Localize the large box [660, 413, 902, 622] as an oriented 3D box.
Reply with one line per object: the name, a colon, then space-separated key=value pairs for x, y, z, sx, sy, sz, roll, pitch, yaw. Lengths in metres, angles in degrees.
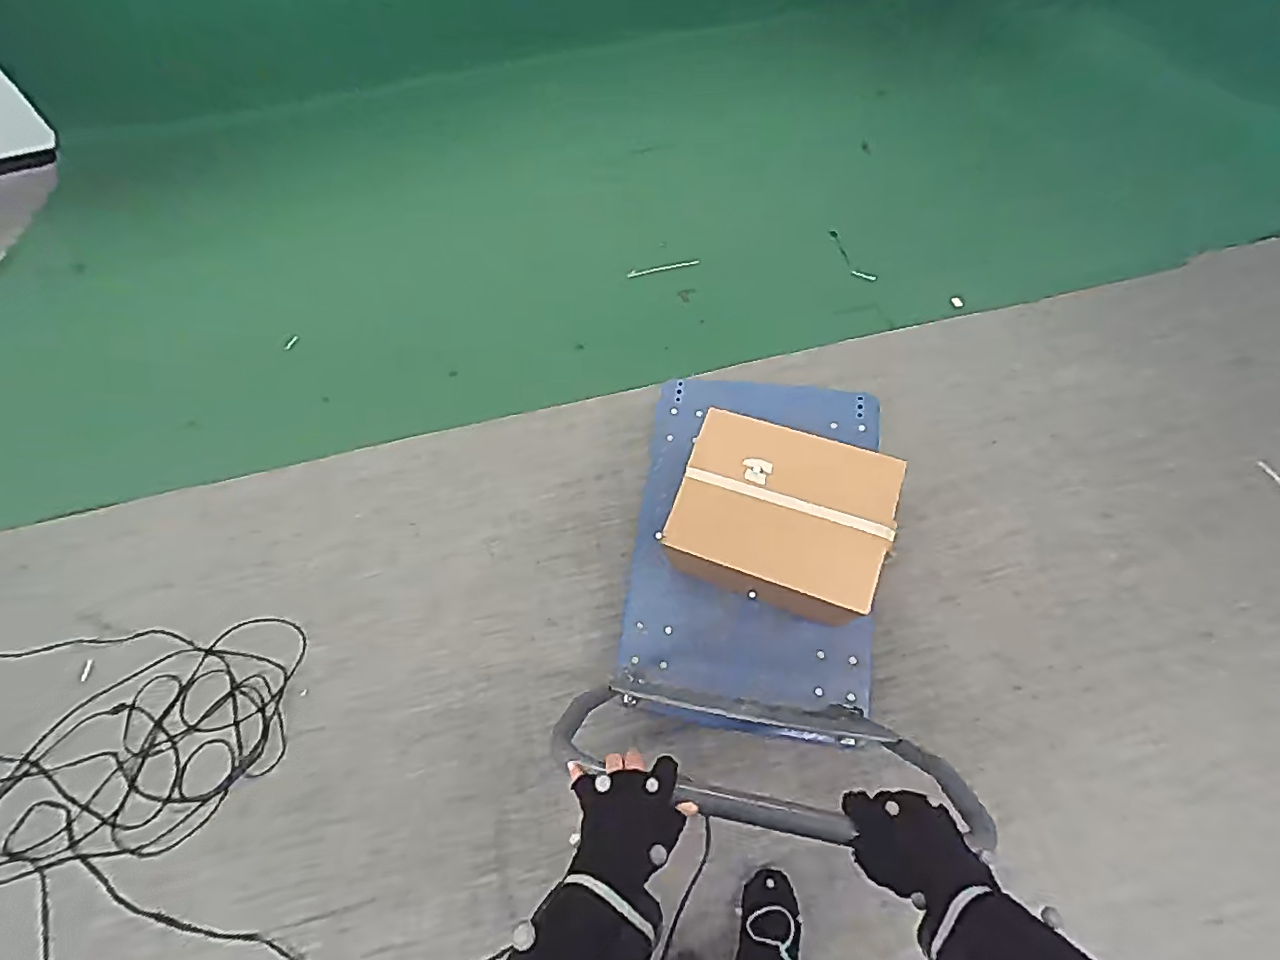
large box: x=0.298 y=0.096 z=1.195 sx=0.408 sy=0.320 sz=0.320 roll=18 pitch=75 yaw=15
